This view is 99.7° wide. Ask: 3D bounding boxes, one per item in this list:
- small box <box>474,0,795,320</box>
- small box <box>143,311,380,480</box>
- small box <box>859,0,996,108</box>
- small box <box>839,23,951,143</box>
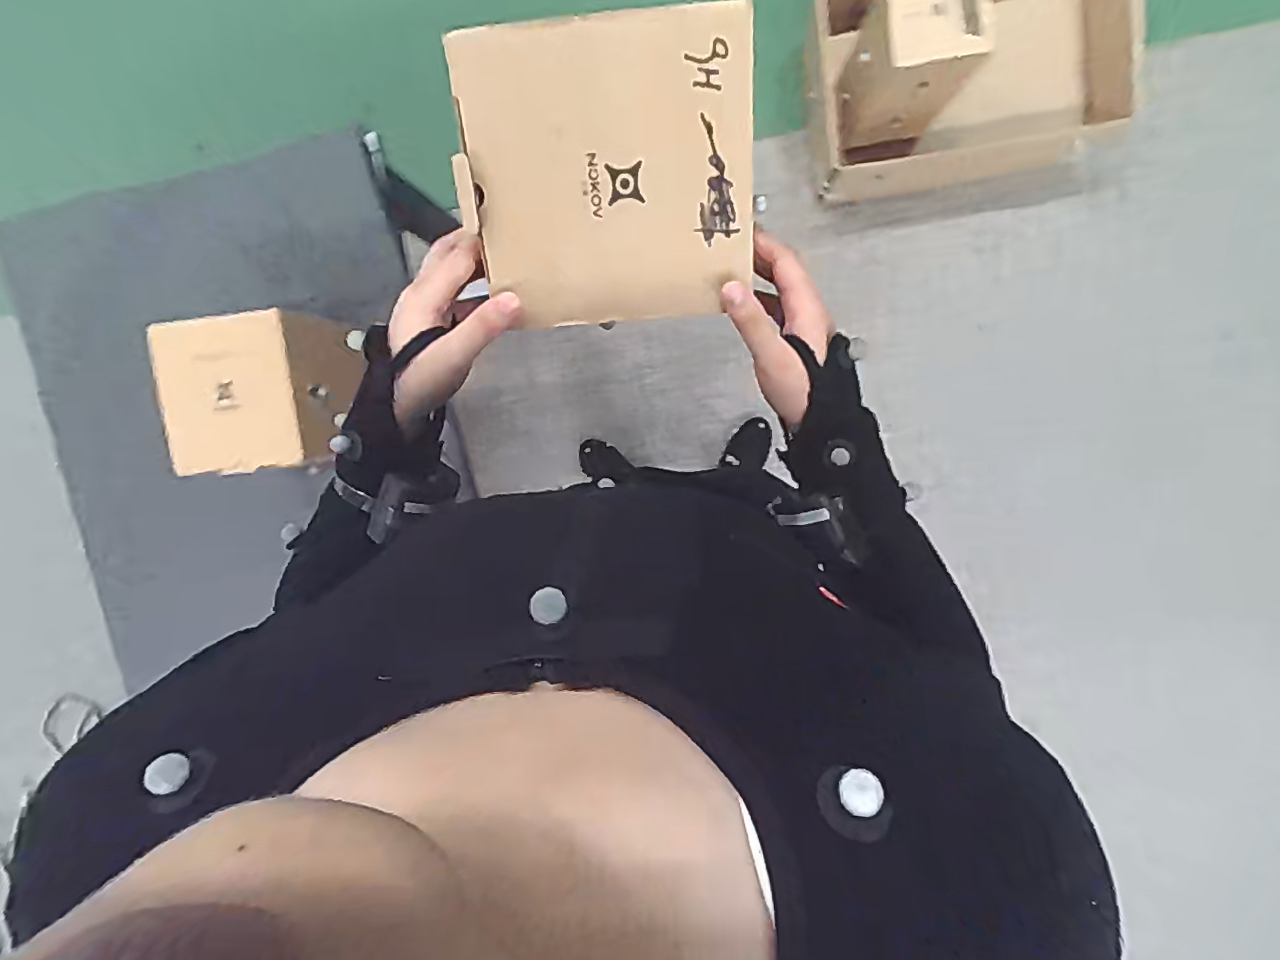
[{"bbox_3d":[0.001,-0.212,0.392,0.179,0.176,0.168,-3,114,2],"label":"small box"},{"bbox_3d":[-0.456,-0.102,0.682,0.168,0.176,0.179,-5,96,6],"label":"small box"},{"bbox_3d":[0.528,-0.835,1.010,0.179,0.176,0.168,-7,97,6],"label":"small box"},{"bbox_3d":[0.541,-0.863,1.171,0.179,0.176,0.168,-8,98,5],"label":"small box"}]
